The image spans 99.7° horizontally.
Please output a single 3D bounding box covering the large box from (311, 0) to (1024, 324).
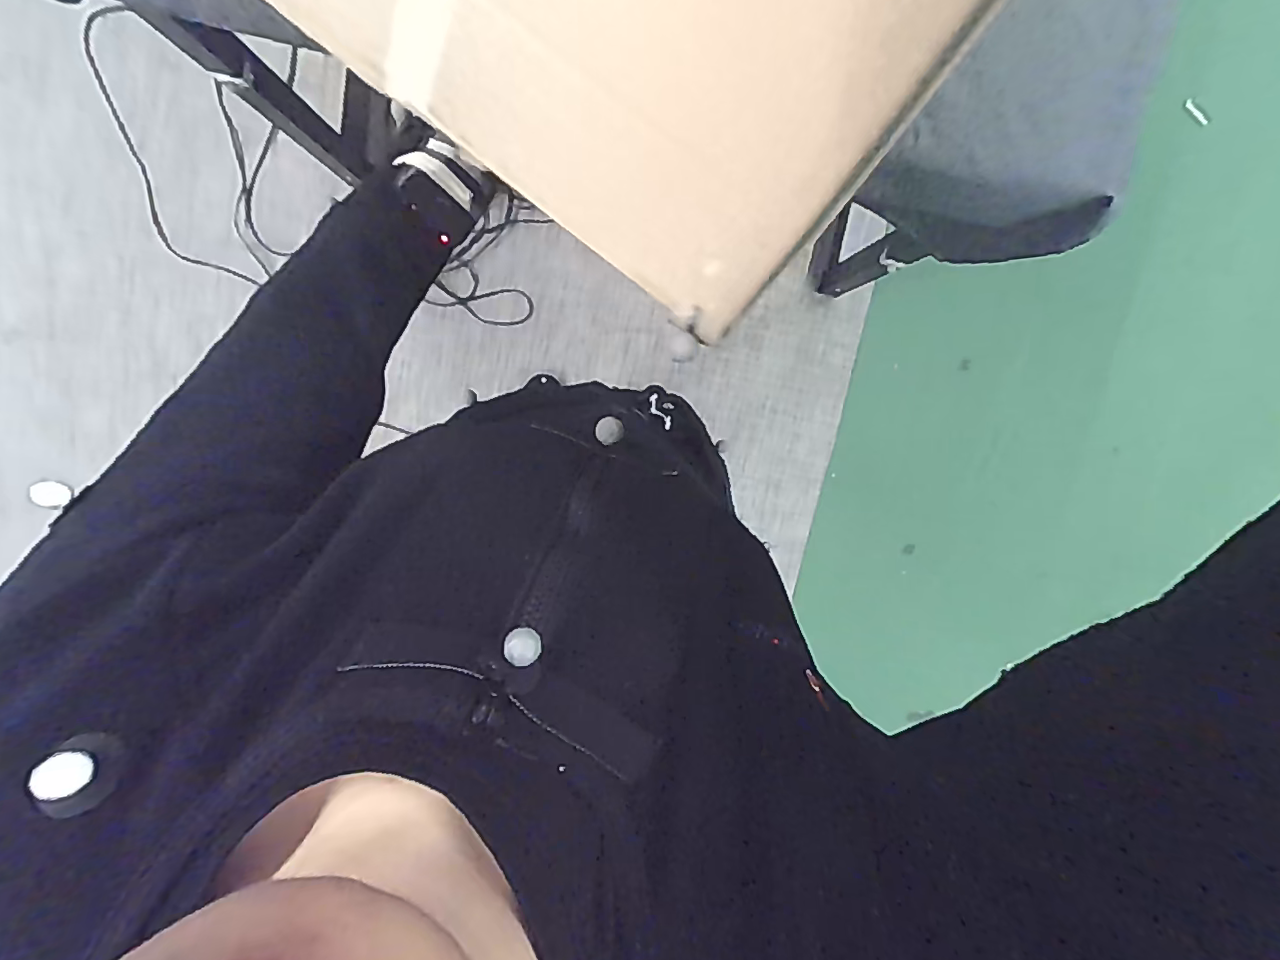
[{"bbox_3d":[0.078,-0.358,0.235,0.320,0.320,0.408,37,128,0],"label":"large box"}]
